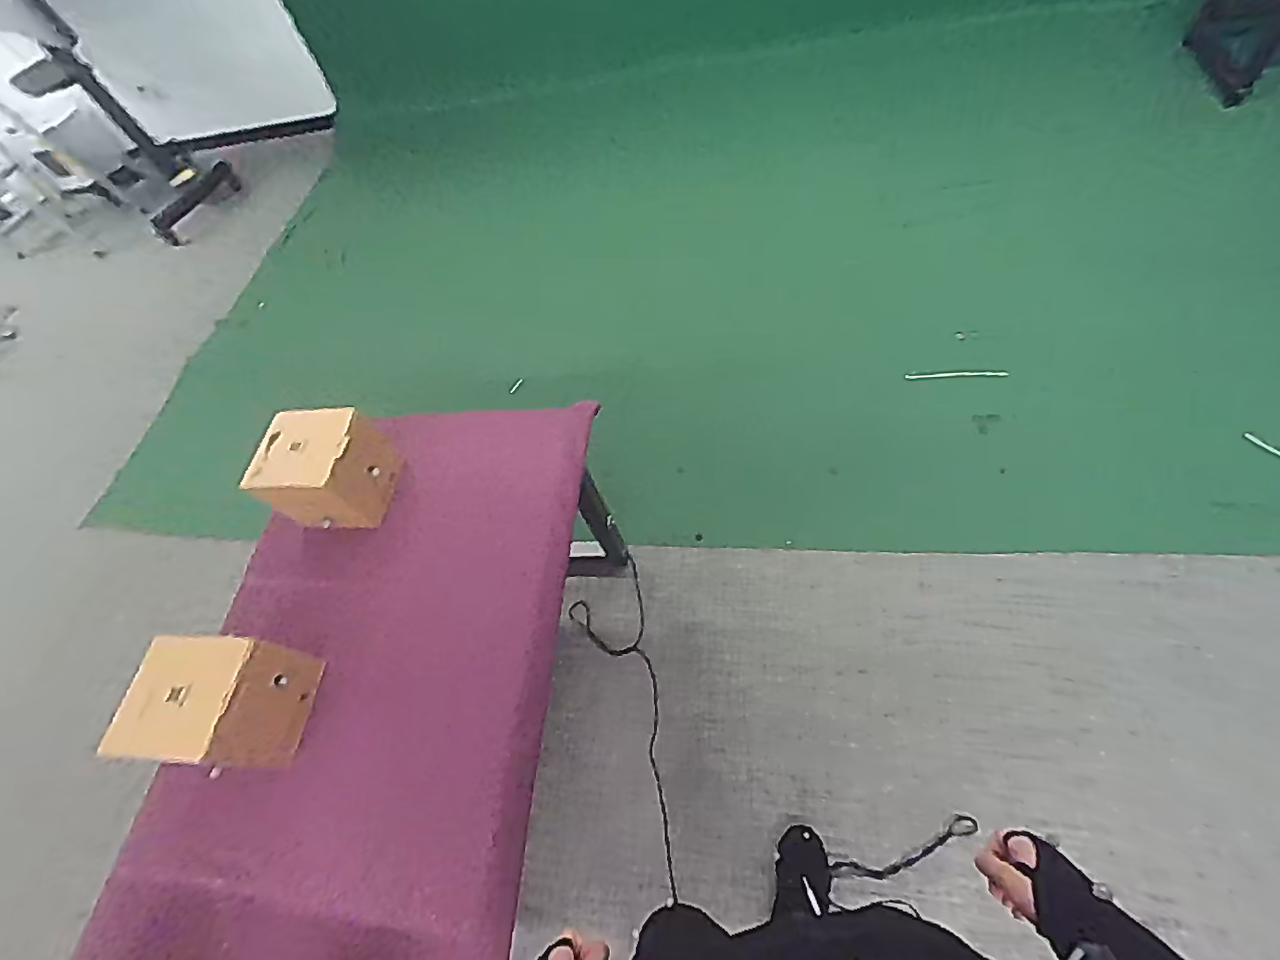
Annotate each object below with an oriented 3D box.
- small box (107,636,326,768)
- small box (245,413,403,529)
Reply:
[{"bbox_3d":[-0.638,0.349,0.843,0.179,0.176,0.168,-2,59,11],"label":"small box"},{"bbox_3d":[-0.594,-0.013,1.044,0.179,0.176,0.168,0,60,11],"label":"small box"}]
